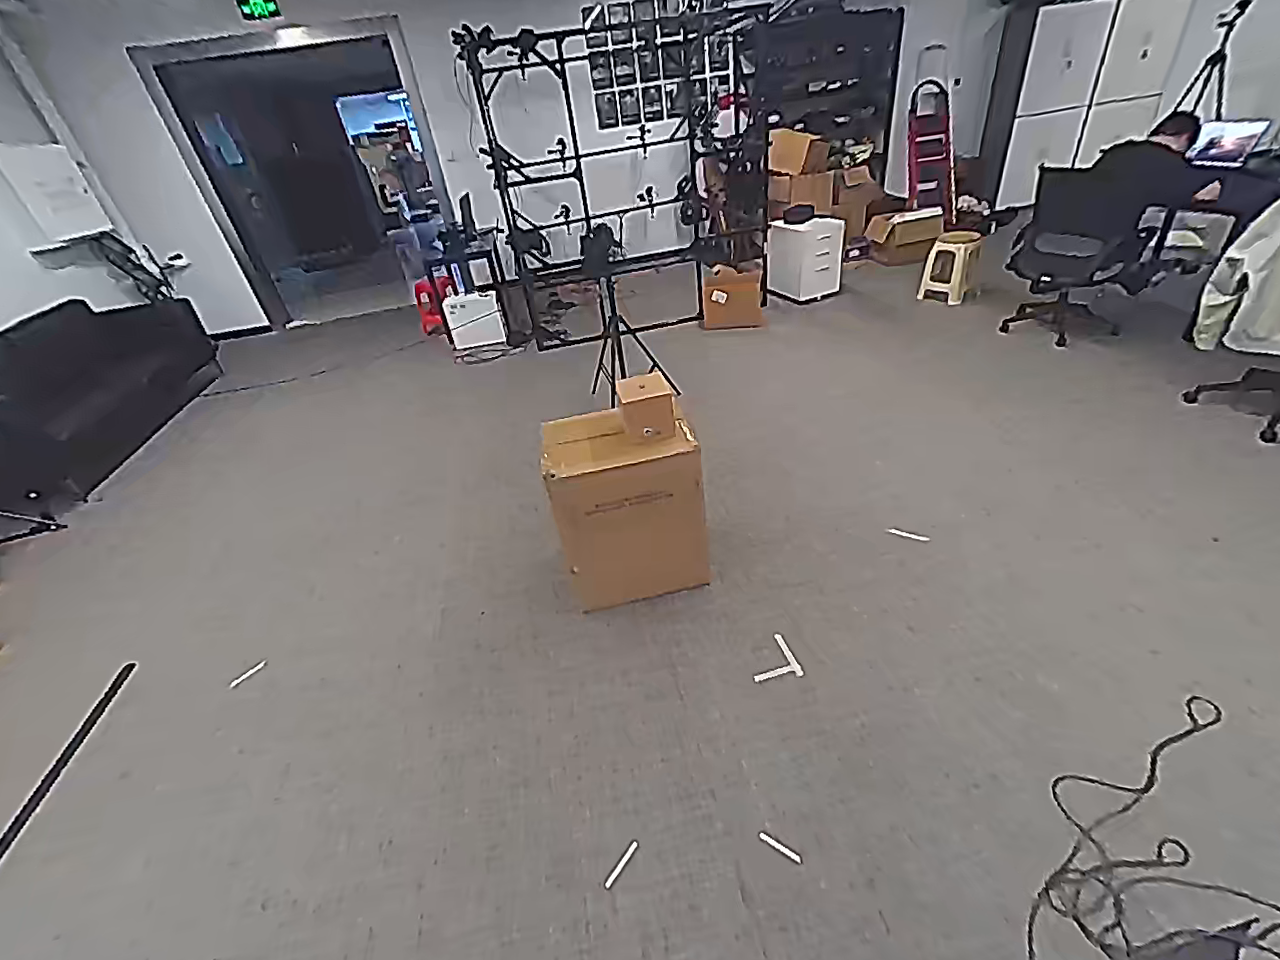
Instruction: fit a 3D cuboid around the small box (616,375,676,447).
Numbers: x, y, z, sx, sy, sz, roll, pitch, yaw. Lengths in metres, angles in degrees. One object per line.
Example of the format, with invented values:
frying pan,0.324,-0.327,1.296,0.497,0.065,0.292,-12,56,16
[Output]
small box,0.019,-0.236,1.858,0.168,0.176,0.179,-14,36,-4
